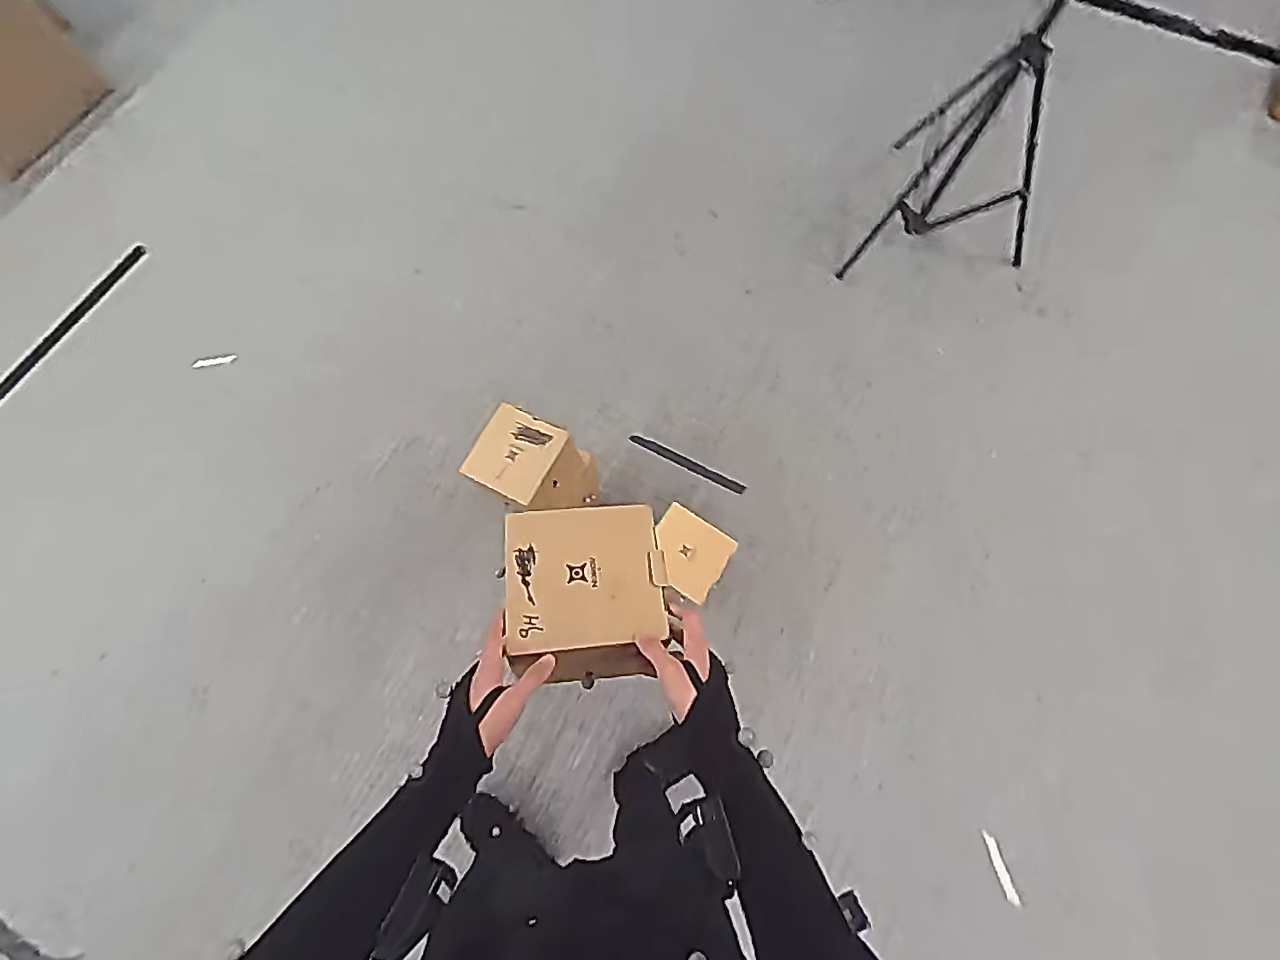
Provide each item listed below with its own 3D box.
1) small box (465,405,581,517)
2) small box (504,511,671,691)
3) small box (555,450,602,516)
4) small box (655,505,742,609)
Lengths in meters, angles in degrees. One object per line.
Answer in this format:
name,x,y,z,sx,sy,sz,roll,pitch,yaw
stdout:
small box,-0.240,-0.026,1.169,0.168,0.176,0.179,26,76,11
small box,-0.071,0.152,0.666,0.179,0.176,0.168,-3,58,-9
small box,-0.210,0.010,1.329,0.179,0.176,0.168,23,75,9
small box,0.111,0.189,1.266,0.179,0.176,0.168,33,76,10
